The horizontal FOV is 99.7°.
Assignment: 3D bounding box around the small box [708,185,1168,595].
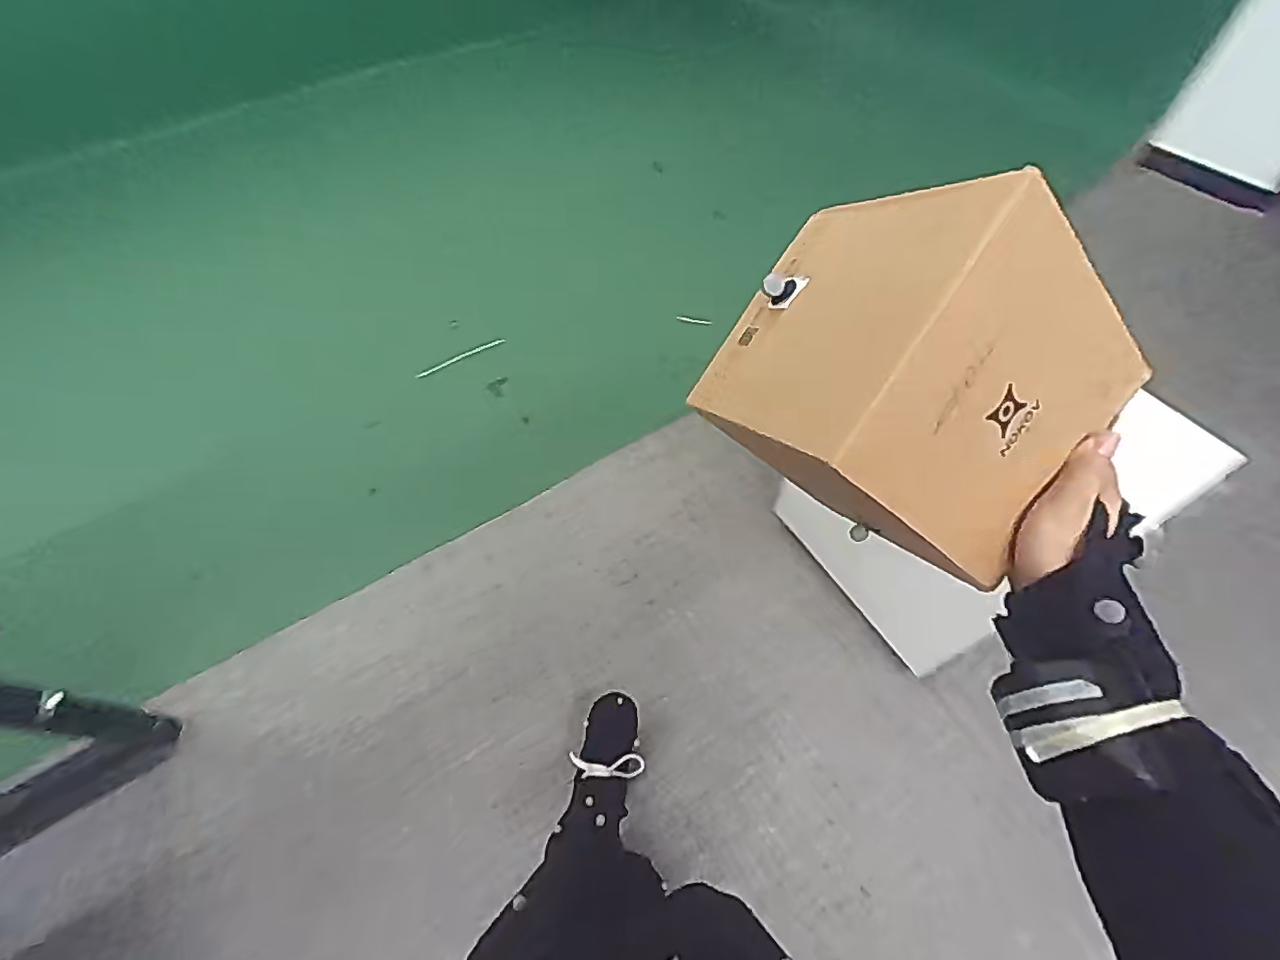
[{"bbox_3d":[0.182,-0.057,0.365,0.168,0.179,0.176,-56,26,3],"label":"small box"}]
